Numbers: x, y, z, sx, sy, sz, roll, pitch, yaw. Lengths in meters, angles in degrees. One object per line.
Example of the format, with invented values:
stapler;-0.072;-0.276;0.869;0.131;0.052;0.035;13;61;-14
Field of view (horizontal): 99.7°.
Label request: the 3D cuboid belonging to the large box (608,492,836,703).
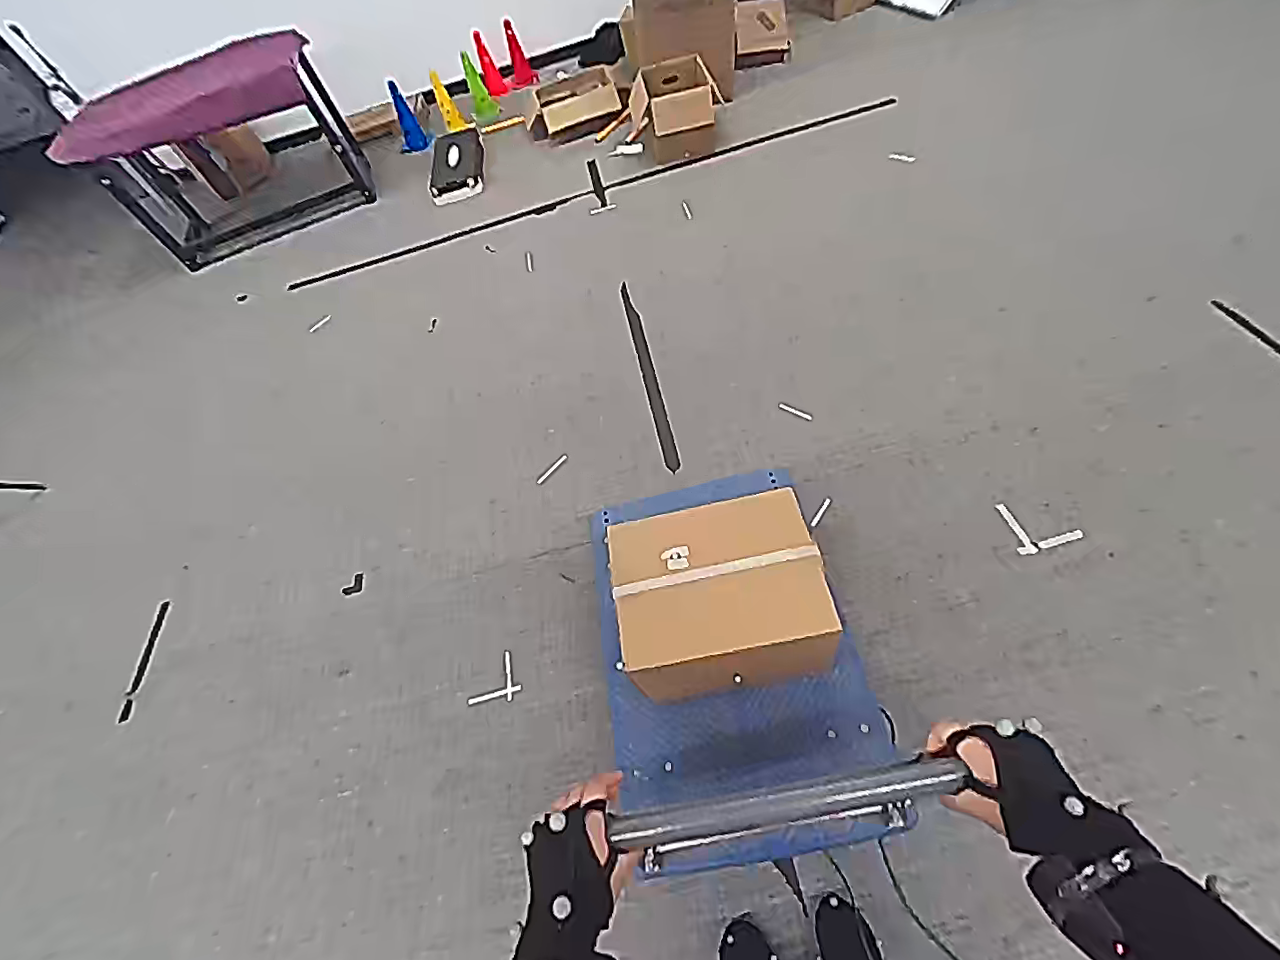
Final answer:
large box;0.175;0.273;1.202;0.408;0.320;0.320;-14;54;5
